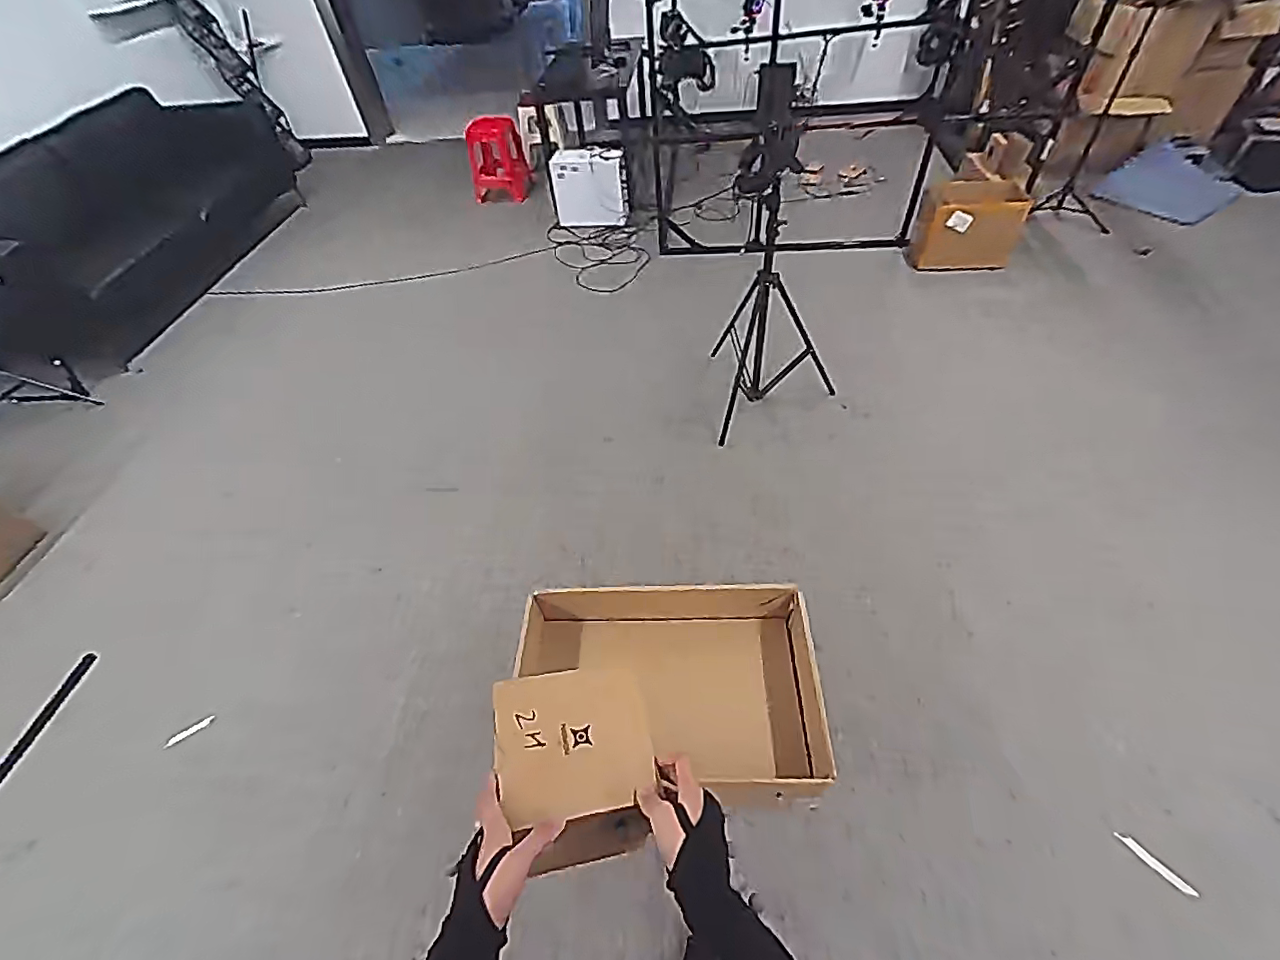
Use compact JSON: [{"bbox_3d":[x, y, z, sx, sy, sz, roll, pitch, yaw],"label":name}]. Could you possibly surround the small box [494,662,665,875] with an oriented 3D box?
[{"bbox_3d":[-0.085,0.351,0.664,0.179,0.176,0.168,-4,41,-15],"label":"small box"}]
